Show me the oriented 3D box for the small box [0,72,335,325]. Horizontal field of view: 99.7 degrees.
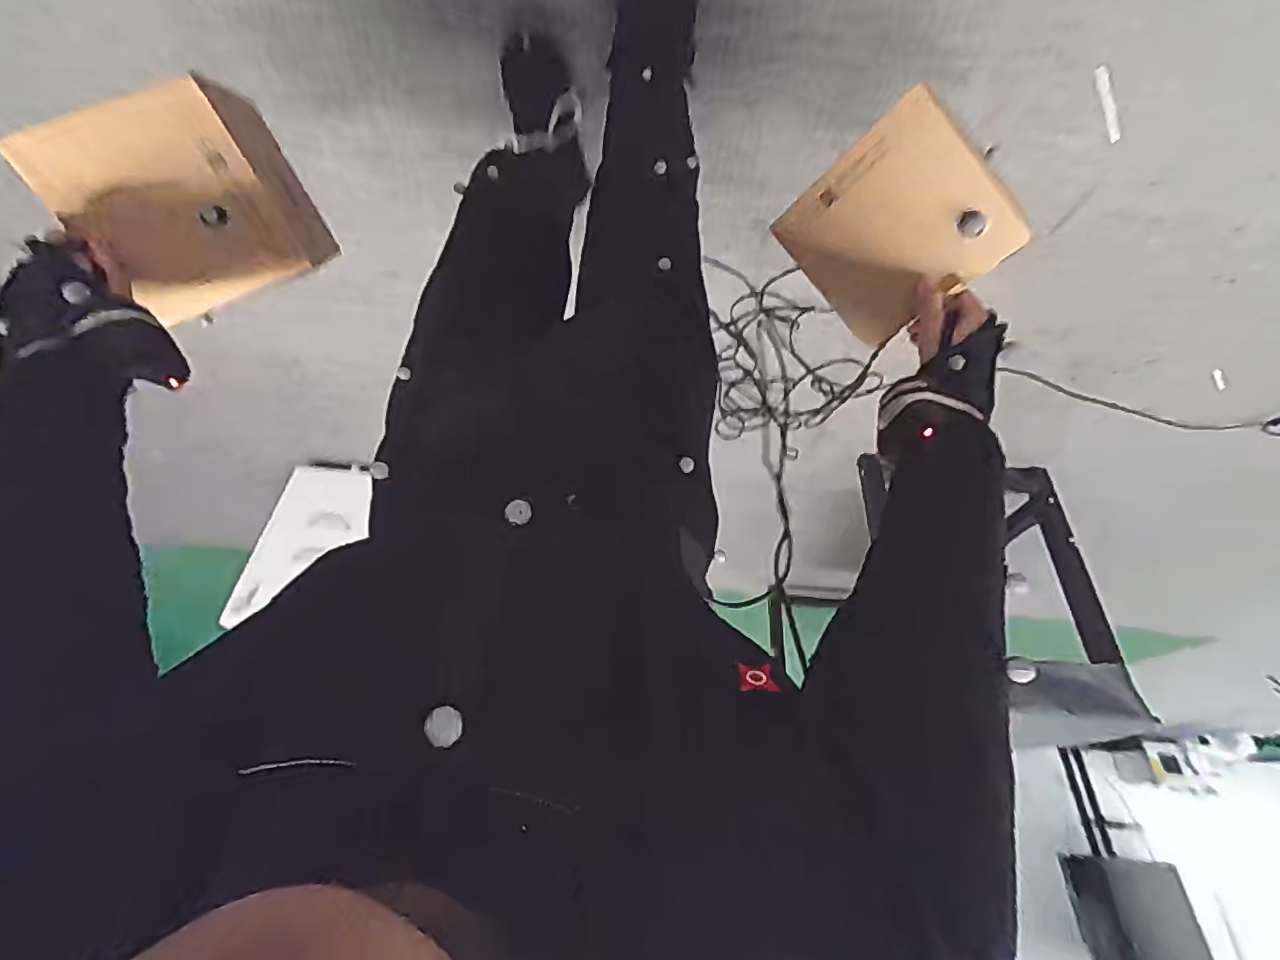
[{"bbox_3d":[-0.443,-0.283,0.552,0.176,0.179,0.168,-25,123,-6],"label":"small box"}]
